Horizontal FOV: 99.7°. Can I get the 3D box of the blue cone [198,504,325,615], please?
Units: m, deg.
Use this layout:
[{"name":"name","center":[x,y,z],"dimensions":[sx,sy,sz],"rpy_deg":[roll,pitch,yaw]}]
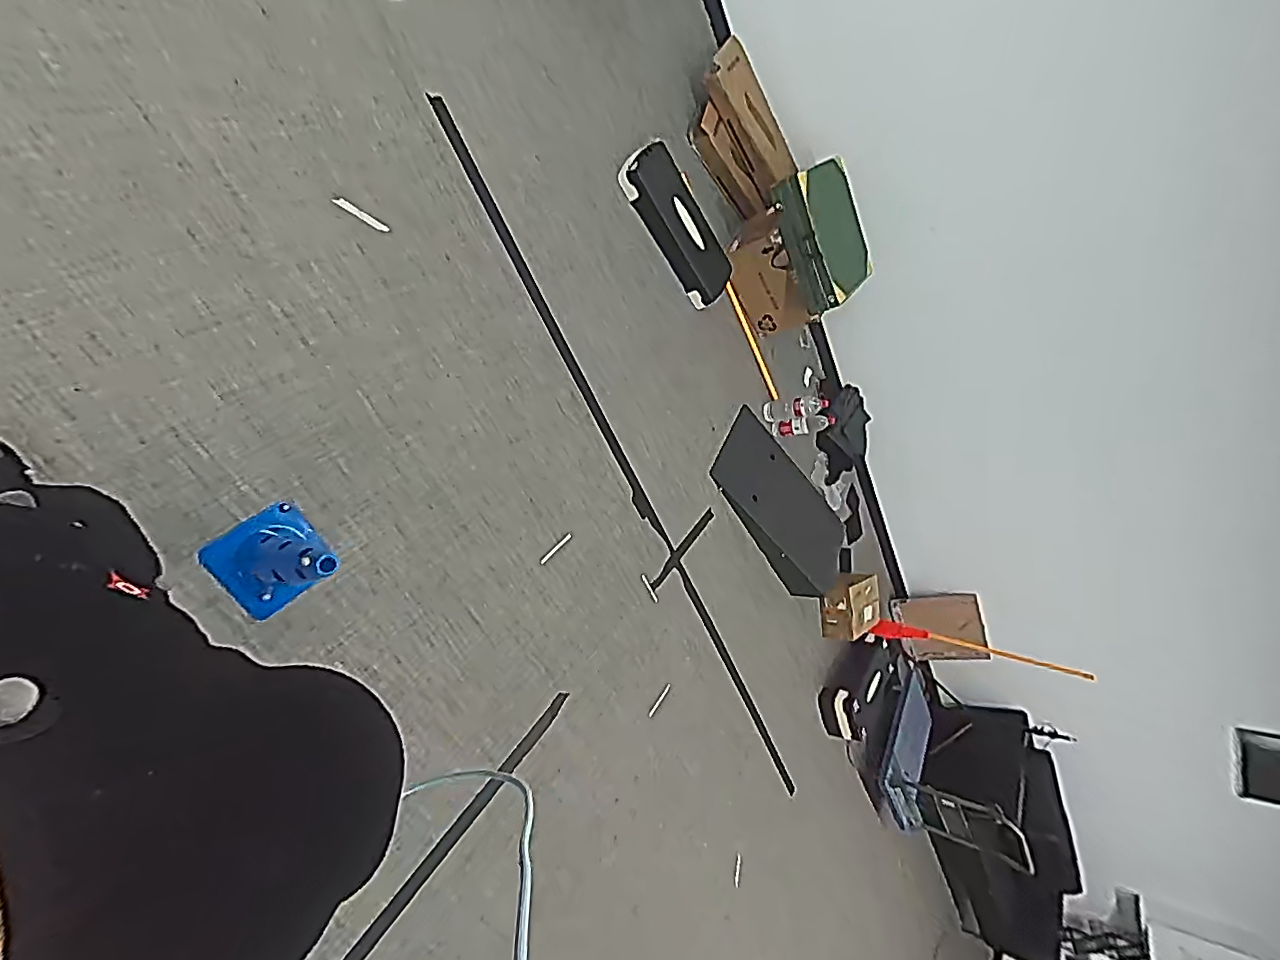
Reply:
[{"name":"blue cone","center":[-0.697,0.162,1.069],"dimensions":[0.193,0.380,0.192],"rpy_deg":[-45,117,-40]}]
